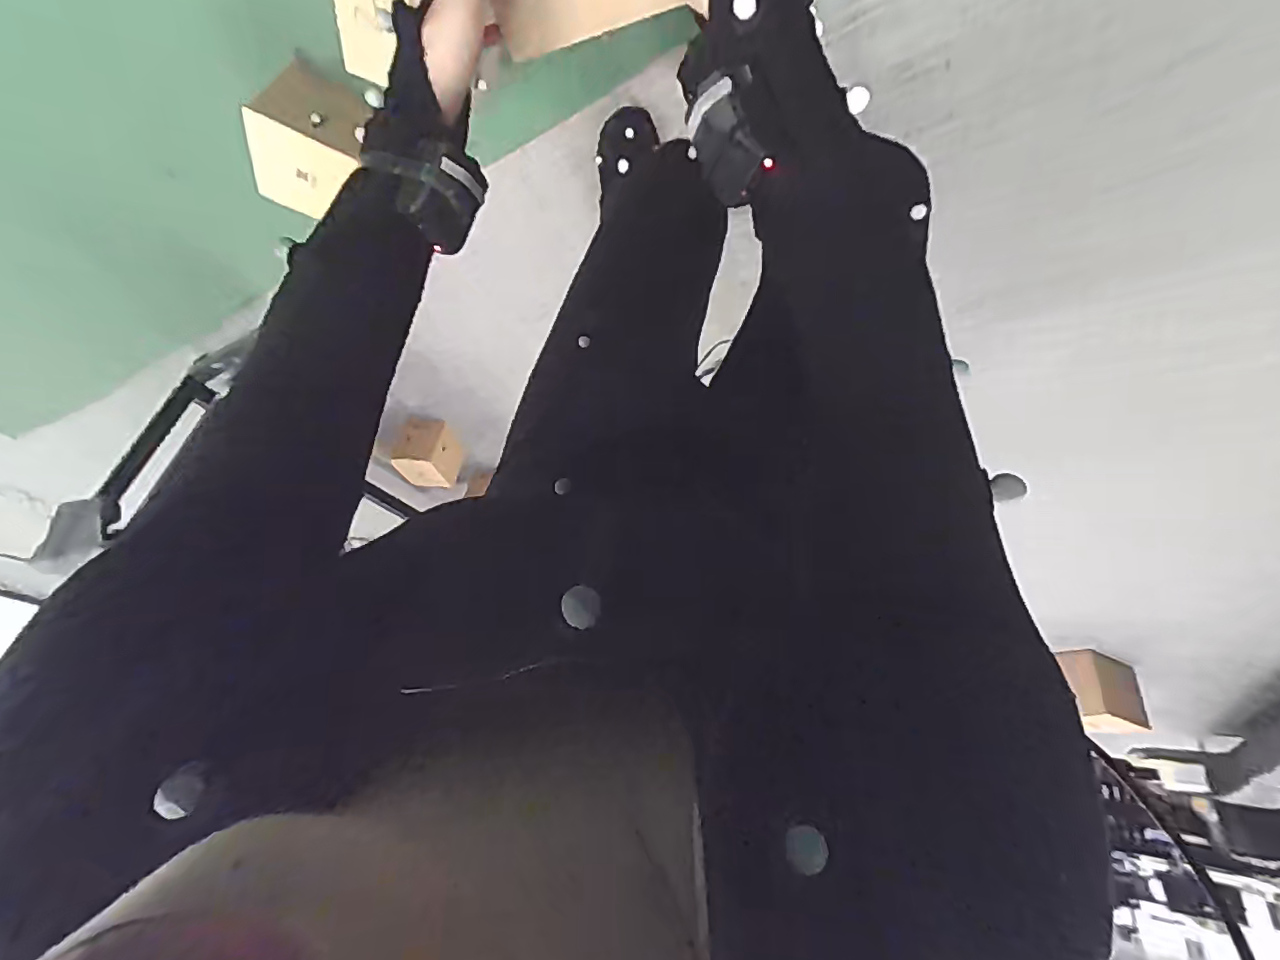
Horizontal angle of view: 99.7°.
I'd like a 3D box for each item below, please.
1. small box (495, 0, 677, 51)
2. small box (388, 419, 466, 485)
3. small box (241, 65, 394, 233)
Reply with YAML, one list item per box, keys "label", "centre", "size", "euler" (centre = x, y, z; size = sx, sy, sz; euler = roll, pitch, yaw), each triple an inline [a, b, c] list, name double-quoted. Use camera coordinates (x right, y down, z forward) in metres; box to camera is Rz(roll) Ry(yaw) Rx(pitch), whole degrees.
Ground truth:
- label: "small box"
  centre: [-0.039, -0.487, 0.423]
  size: [0.179, 0.176, 0.168]
  euler: [-4, 147, 19]
- label: "small box"
  centre: [-0.736, -0.098, 1.887]
  size: [0.168, 0.176, 0.179]
  euler: [3, 151, 13]
- label: "small box"
  centre: [-0.565, -0.593, 0.968]
  size: [0.179, 0.176, 0.168]
  euler: [19, 149, -17]
